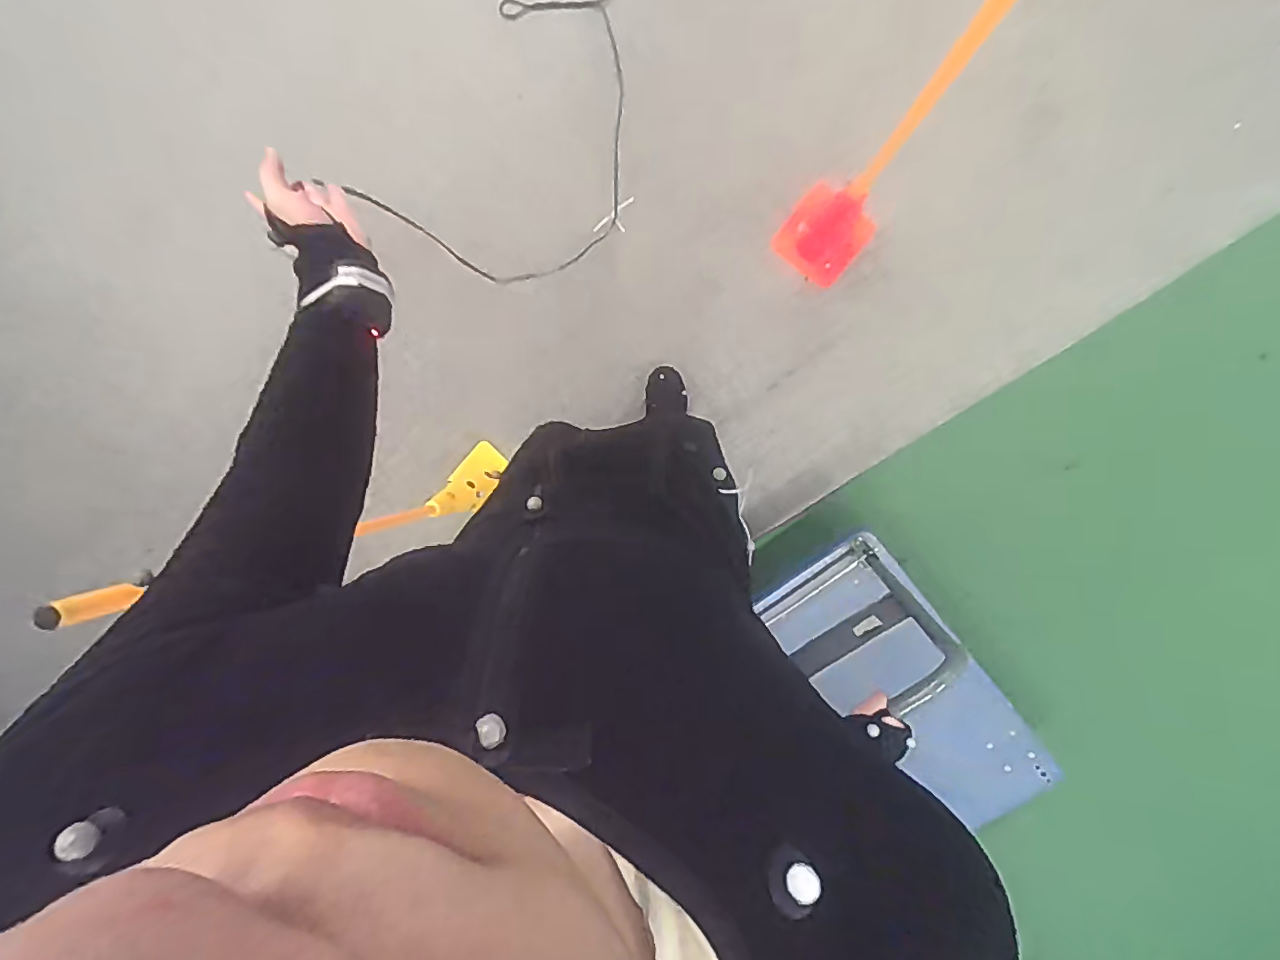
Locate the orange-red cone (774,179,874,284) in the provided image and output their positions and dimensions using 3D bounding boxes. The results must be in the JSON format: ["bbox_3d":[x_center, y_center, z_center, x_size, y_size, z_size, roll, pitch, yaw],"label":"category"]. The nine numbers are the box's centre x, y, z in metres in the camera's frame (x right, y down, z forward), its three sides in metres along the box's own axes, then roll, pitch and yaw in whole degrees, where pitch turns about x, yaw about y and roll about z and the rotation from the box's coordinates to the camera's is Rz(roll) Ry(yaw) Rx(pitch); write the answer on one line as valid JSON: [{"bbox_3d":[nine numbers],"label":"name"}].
[{"bbox_3d":[0.462,-0.616,1.252,0.198,0.360,0.199,41,102,-2],"label":"orange-red cone"}]
